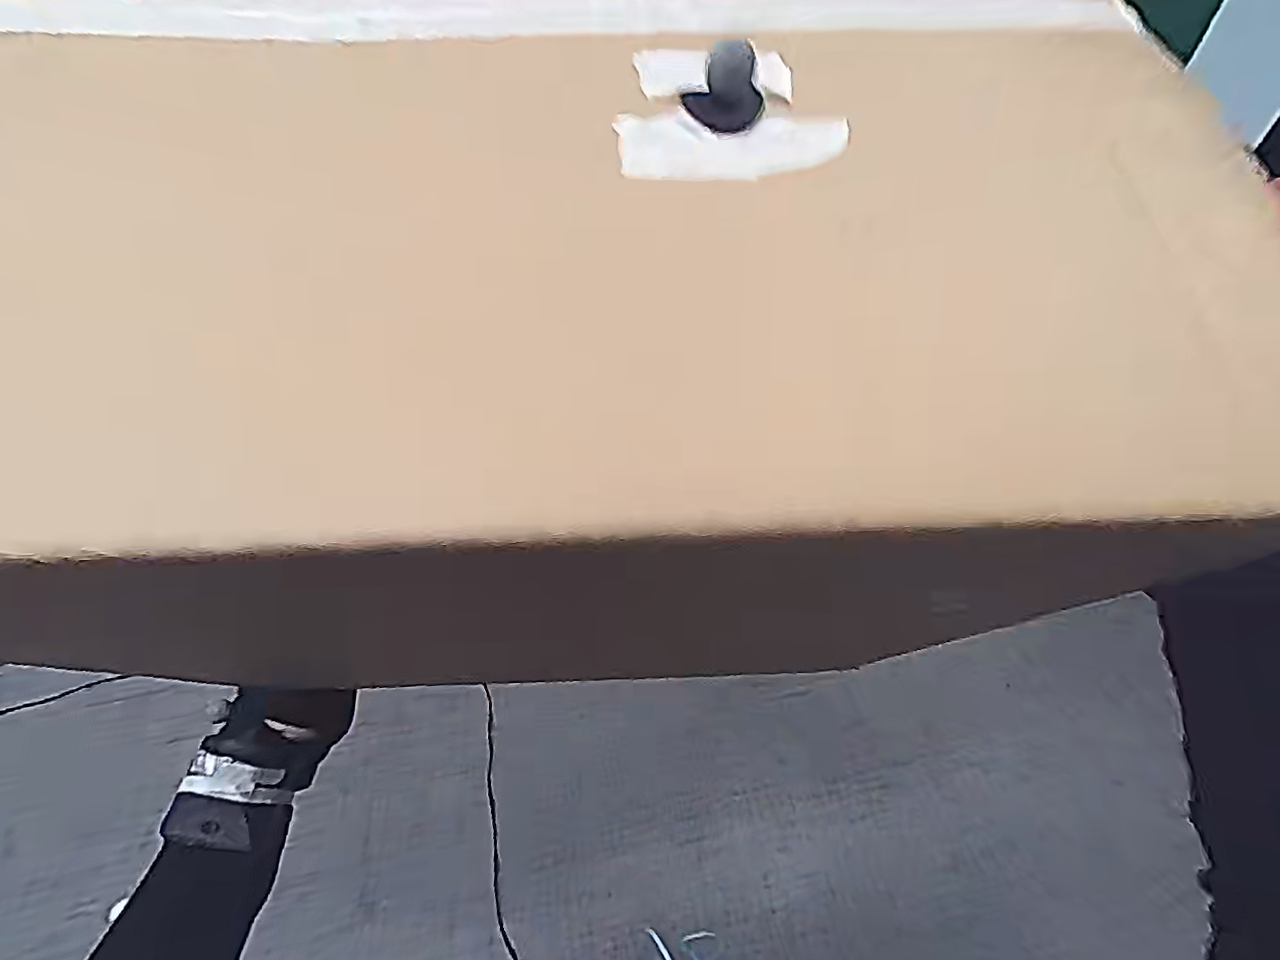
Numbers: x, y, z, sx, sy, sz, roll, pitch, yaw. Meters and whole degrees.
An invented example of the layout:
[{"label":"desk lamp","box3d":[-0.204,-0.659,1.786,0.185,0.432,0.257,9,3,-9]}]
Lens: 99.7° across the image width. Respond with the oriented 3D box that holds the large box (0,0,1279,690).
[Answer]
[{"label":"large box","box3d":[-0.039,-0.067,0.306,0.408,0.320,0.320,-1,66,-3]}]
